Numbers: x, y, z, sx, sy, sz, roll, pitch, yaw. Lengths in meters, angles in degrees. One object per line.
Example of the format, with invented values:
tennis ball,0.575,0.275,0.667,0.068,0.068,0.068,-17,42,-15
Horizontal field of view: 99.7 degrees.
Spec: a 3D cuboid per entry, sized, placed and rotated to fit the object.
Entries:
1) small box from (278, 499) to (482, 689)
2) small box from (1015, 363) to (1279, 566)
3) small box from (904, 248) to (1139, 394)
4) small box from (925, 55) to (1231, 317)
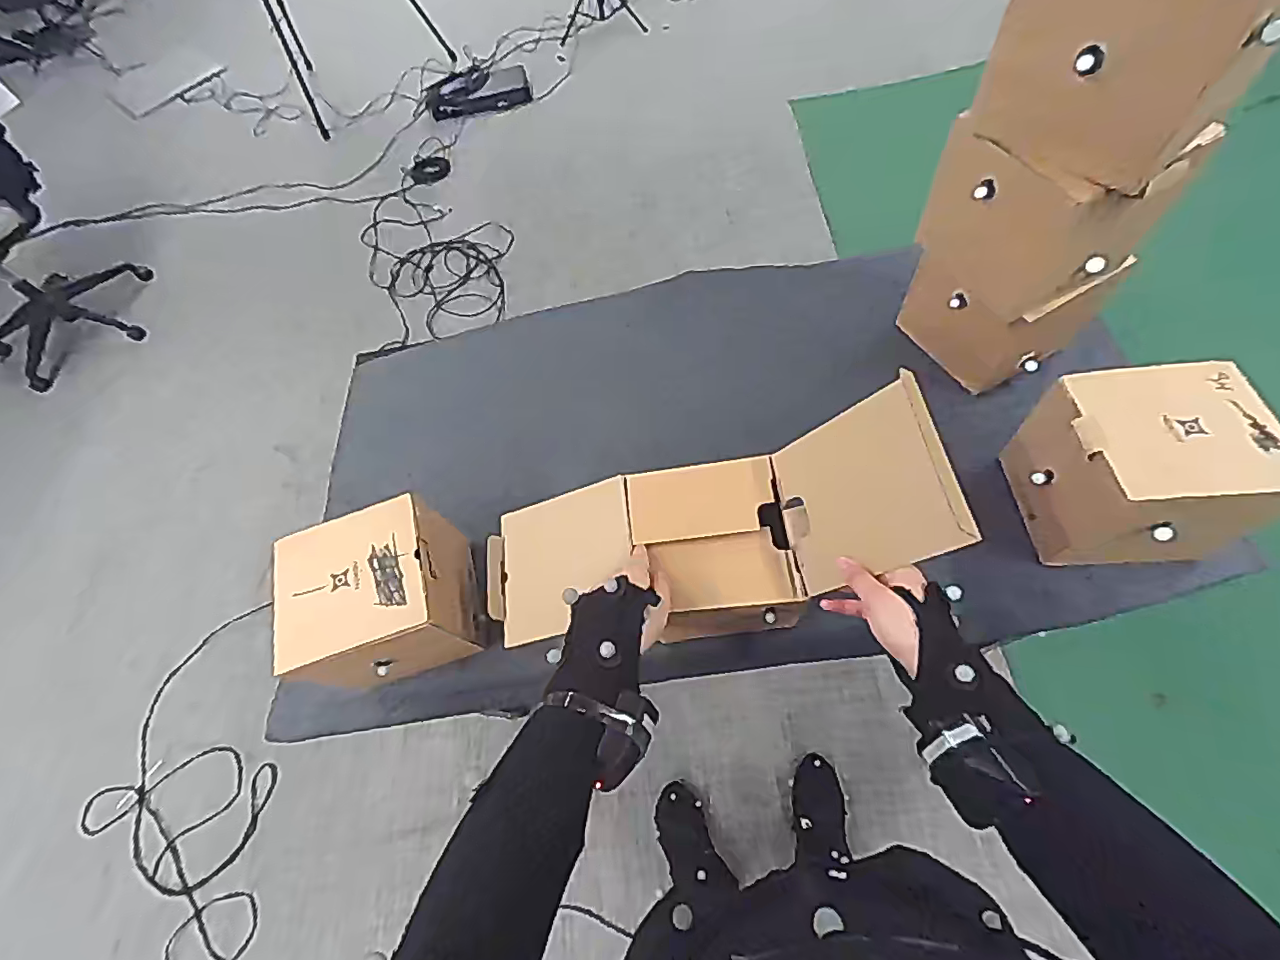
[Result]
small box,-0.314,0.150,0.681,0.179,0.176,0.168,-19,63,0
small box,0.566,-0.009,0.618,0.179,0.176,0.168,-4,59,8
small box,0.508,-0.255,0.756,0.168,0.176,0.179,-29,64,-3
small box,0.462,-0.323,0.612,0.168,0.176,0.179,-26,63,-1
